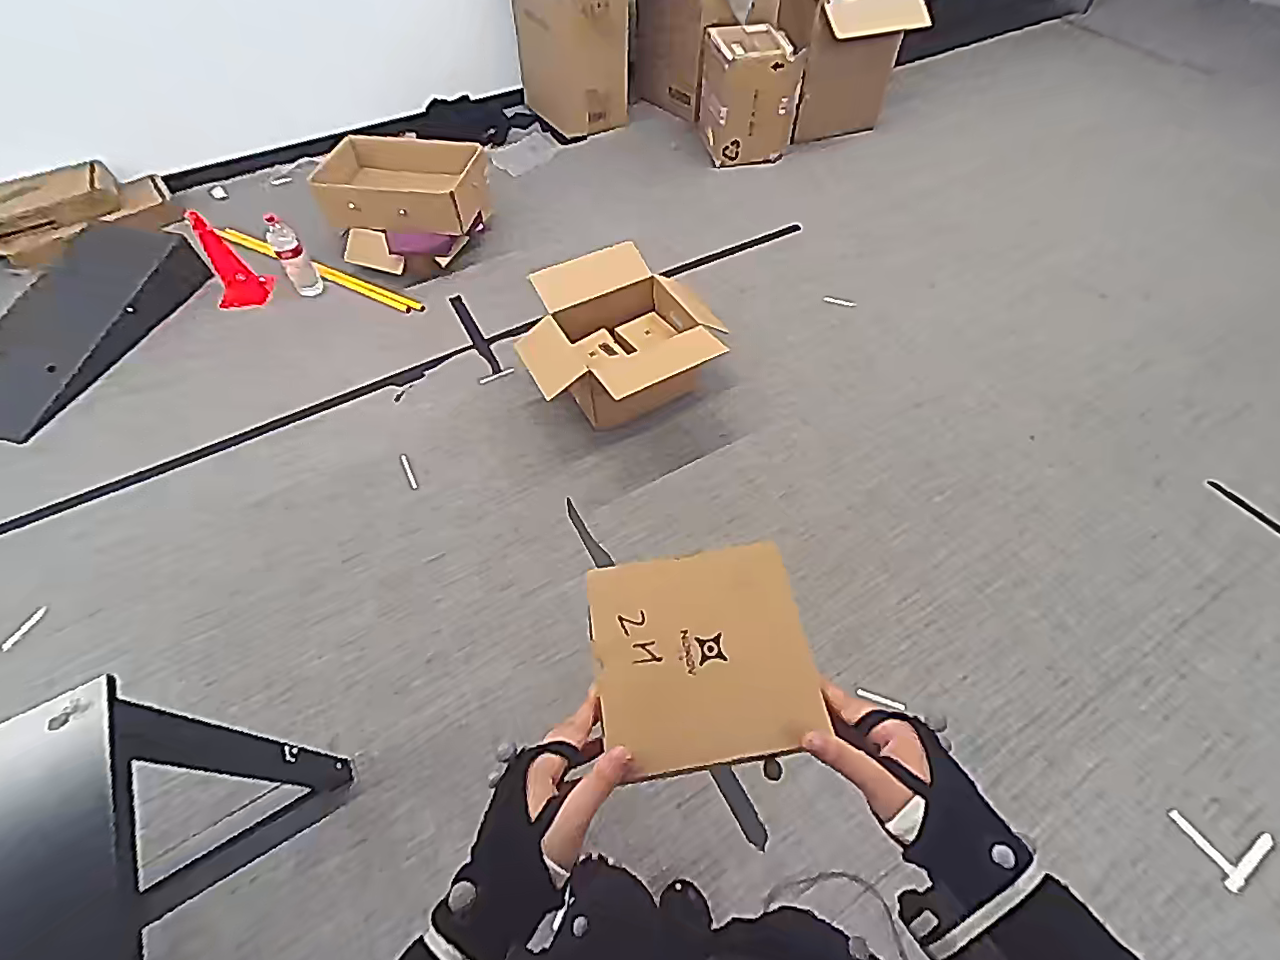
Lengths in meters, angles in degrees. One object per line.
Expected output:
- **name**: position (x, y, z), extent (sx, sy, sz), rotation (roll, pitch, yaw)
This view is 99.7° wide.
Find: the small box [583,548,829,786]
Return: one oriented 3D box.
- **small box**: position (0.047, 0.181, 0.509), extent (0.179, 0.176, 0.168), rotation (-9, 60, -4)
